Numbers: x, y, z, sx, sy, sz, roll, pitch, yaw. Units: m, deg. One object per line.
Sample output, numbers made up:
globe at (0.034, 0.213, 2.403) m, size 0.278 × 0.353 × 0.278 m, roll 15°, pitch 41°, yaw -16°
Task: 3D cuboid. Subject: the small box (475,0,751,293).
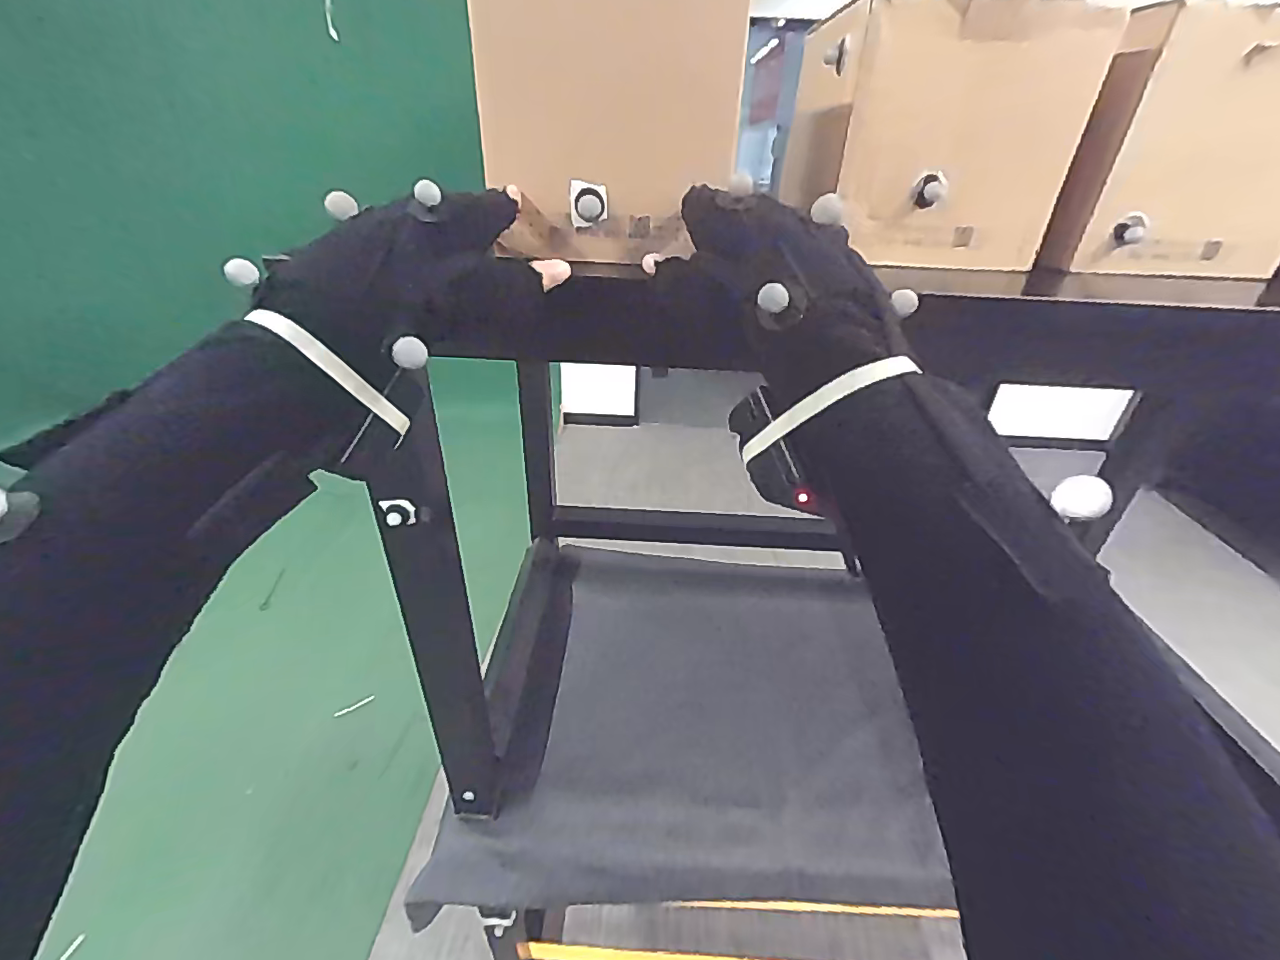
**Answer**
small box at (-0.018, -0.255, 0.423) m, size 0.168 × 0.176 × 0.179 m, roll 1°, pitch 32°, yaw -1°
